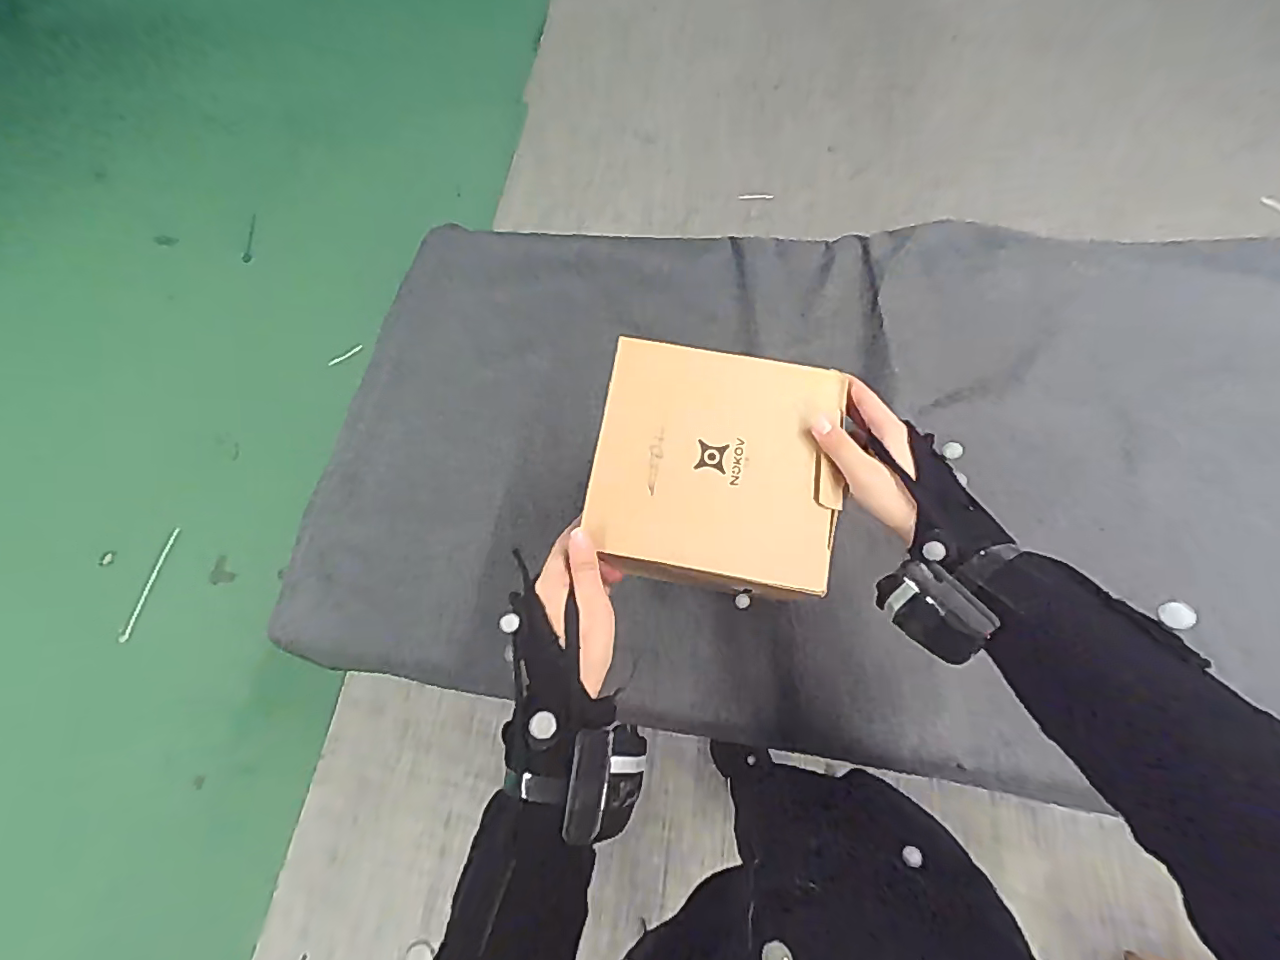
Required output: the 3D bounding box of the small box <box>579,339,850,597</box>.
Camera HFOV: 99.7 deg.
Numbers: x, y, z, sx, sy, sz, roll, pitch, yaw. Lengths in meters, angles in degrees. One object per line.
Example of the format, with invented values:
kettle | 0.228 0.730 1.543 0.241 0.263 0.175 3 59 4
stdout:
small box | 0.058 0.004 0.464 0.179 0.176 0.168 10 75 4
